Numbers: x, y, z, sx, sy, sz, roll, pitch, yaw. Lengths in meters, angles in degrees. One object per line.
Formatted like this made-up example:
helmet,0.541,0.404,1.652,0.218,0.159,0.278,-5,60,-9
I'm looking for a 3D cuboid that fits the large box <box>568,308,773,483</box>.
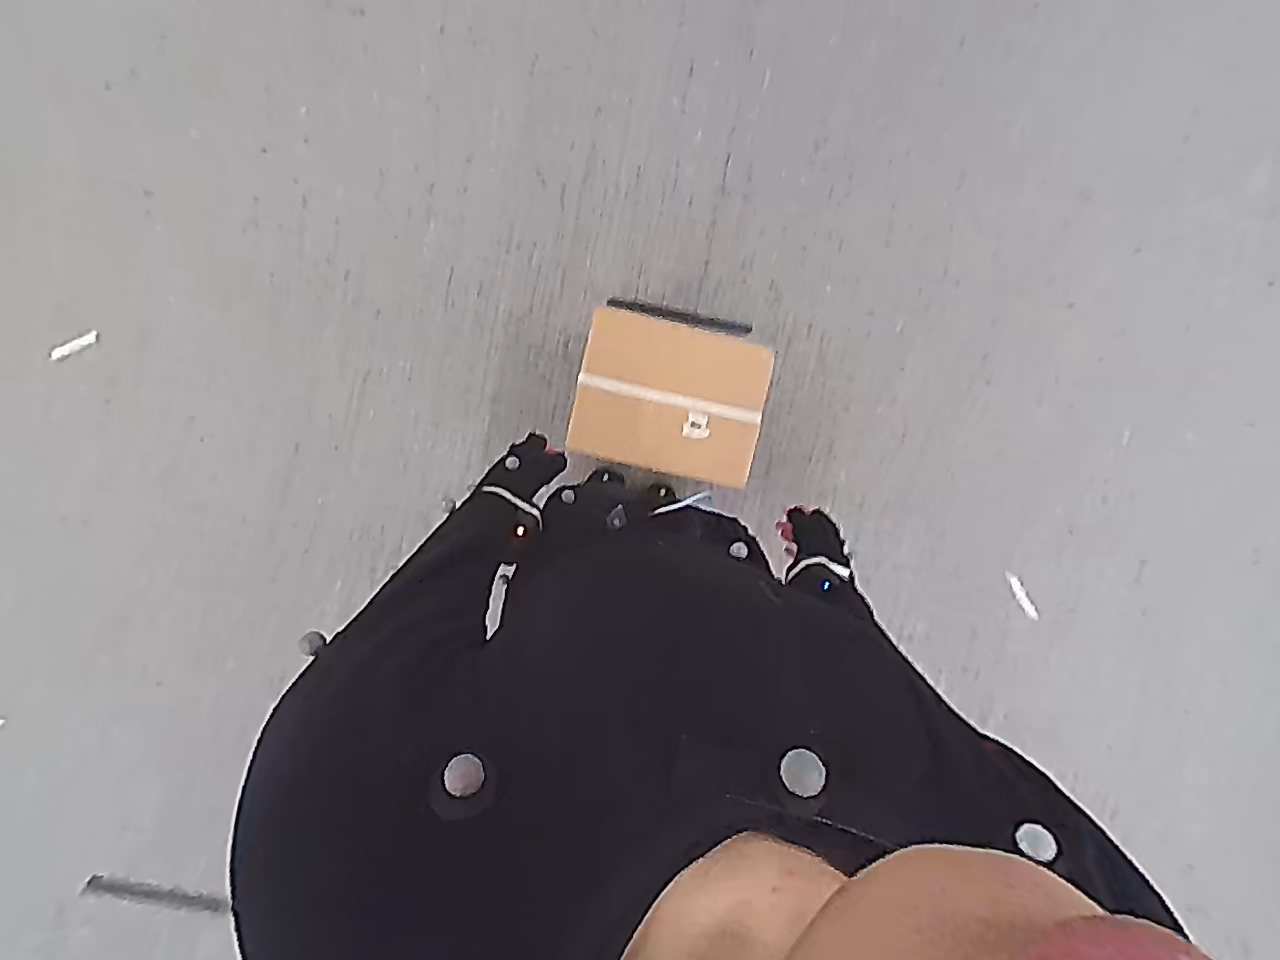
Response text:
large box,0.056,-0.189,1.323,0.408,0.320,0.320,13,94,-4
